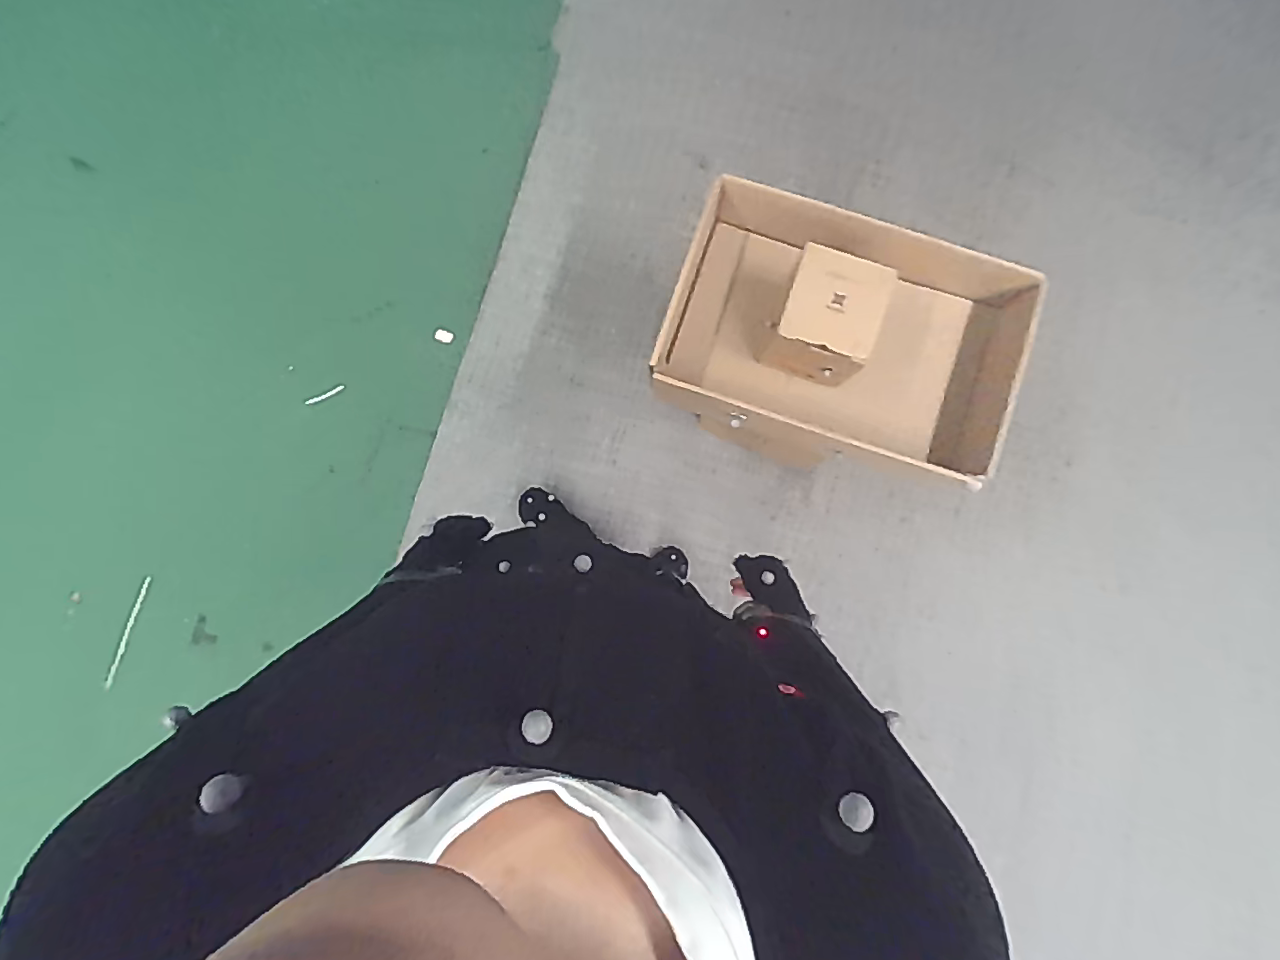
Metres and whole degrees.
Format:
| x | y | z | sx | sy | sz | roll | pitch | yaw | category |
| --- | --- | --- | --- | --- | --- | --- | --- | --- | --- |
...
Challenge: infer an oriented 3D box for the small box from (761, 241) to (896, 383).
| x | y | z | sx | sy | sz | roll | pitch | yaw | category |
| --- | --- | --- | --- | --- | --- | --- | --- | --- | --- |
| 0.338 | -0.300 | 1.007 | 0.168 | 0.176 | 0.179 | 19 | 84 | 0 | small box |
